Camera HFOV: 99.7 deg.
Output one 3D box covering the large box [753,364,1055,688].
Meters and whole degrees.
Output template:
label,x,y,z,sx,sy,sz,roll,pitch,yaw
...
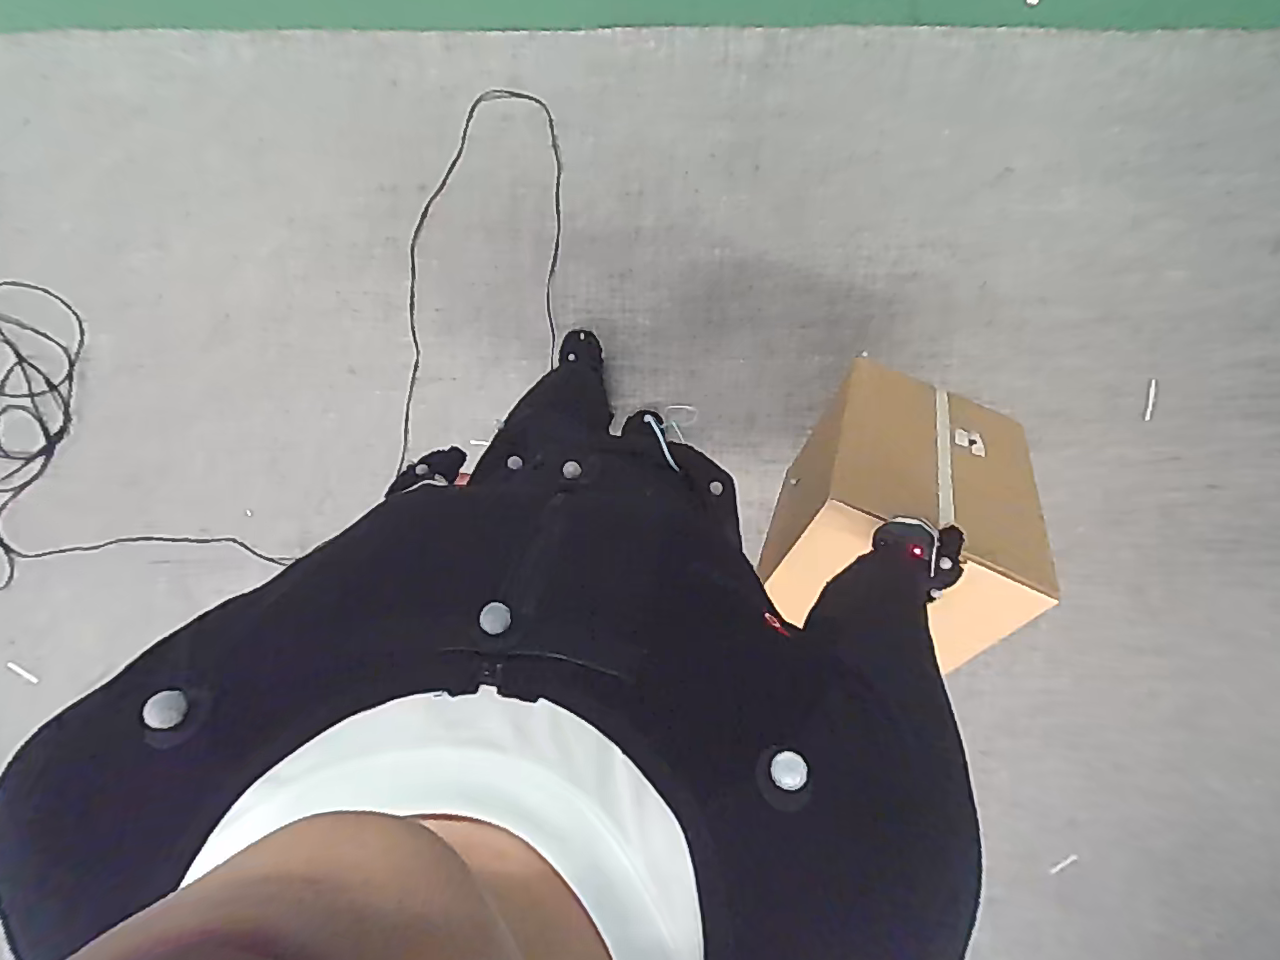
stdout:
label,x,y,z,sx,sy,sz,roll,pitch,yaw
large box,0.426,0.069,0.942,0.320,0.408,0.320,26,135,5
